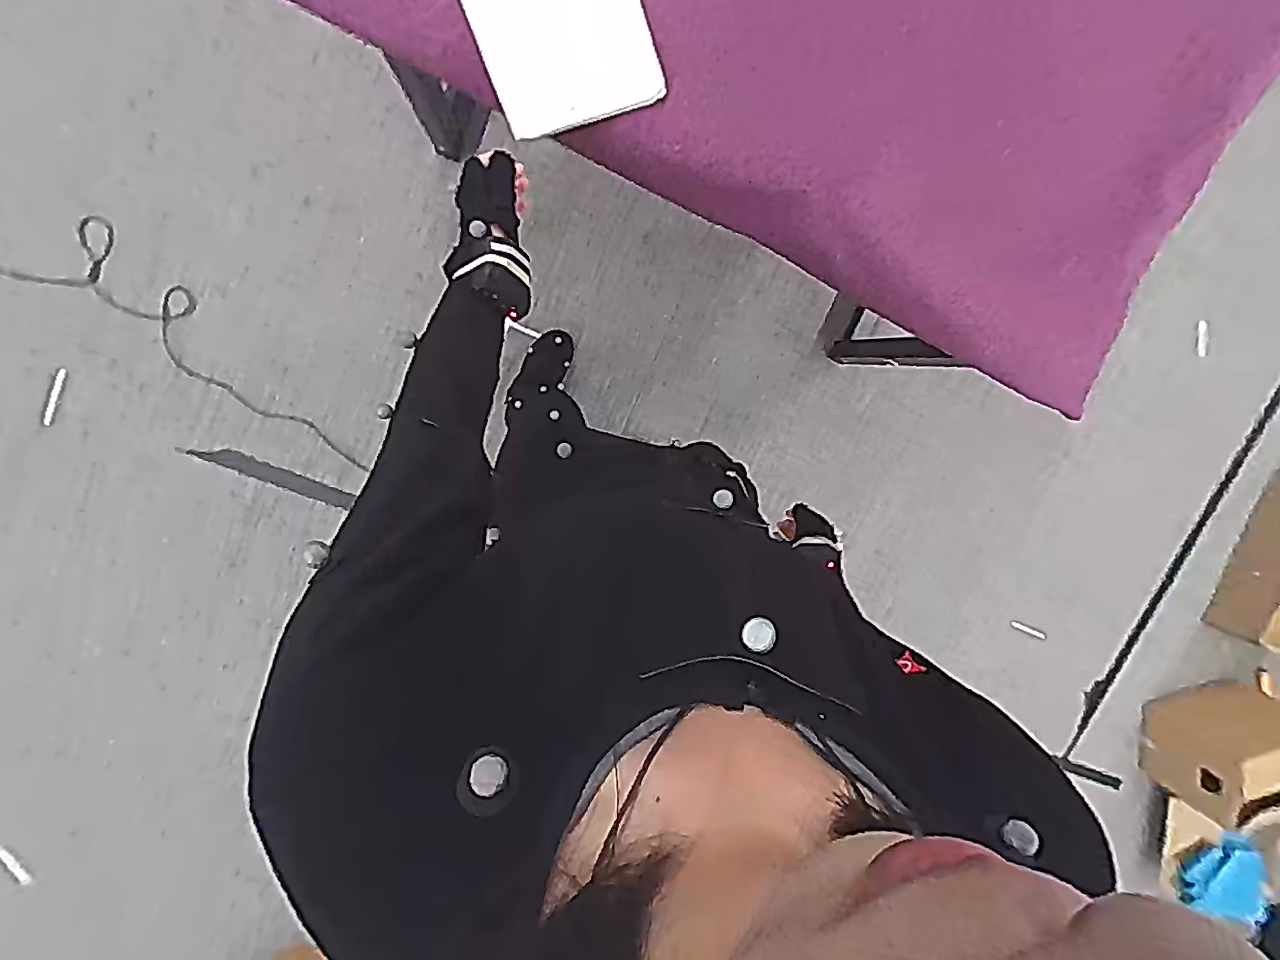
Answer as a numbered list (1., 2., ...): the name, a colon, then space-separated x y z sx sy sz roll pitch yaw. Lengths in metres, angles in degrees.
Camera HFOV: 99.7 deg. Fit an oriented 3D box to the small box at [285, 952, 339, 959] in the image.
1. small box: -1.012 1.565 1.617 0.179 0.176 0.168 -3 102 -8
